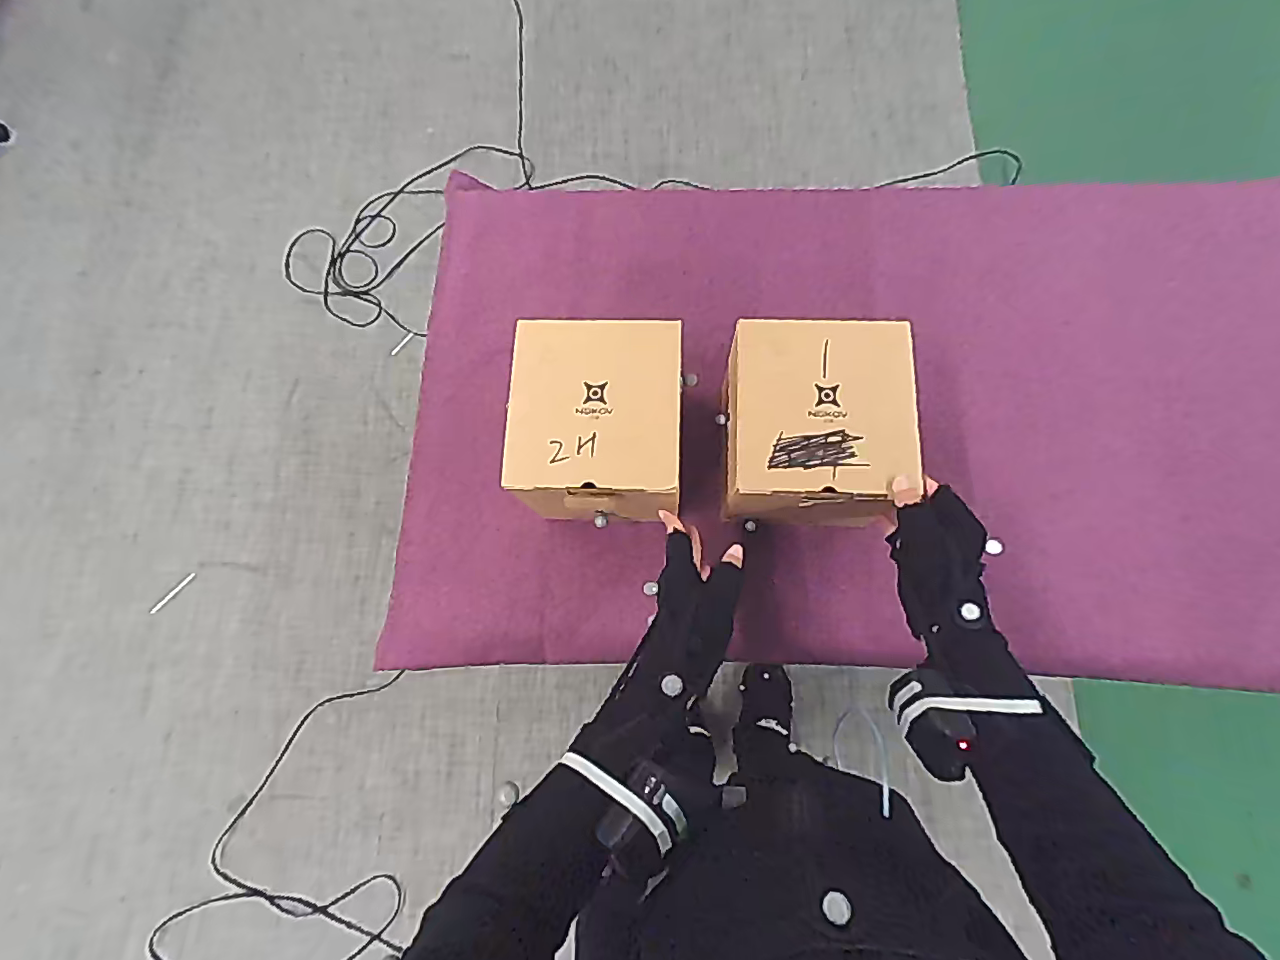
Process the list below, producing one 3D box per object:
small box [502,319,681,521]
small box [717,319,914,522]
[{"bbox_3d":[-0.041,-0.057,0.597,0.168,0.176,0.179,1,77,4],"label":"small box"},{"bbox_3d":[0.174,-0.053,0.583,0.168,0.176,0.179,2,76,4],"label":"small box"}]
